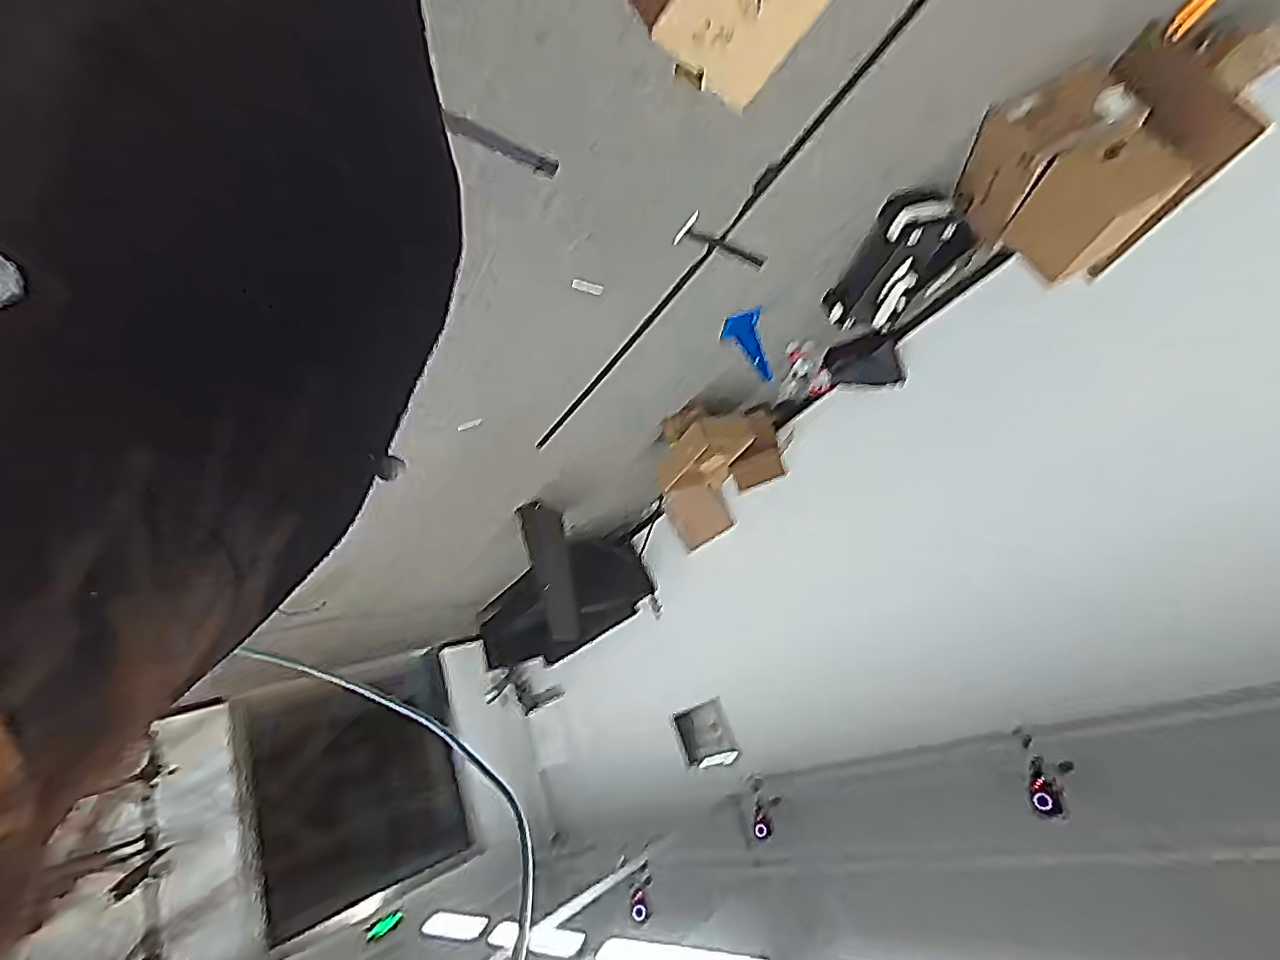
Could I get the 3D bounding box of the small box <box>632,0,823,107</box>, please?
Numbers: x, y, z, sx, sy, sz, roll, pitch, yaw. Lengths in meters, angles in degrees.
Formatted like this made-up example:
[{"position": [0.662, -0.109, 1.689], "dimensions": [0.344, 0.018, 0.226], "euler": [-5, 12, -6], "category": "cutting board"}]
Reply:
[{"position": [0.088, -0.576, 0.592], "dimensions": [0.168, 0.176, 0.179], "euler": [0, 150, -45], "category": "small box"}]
